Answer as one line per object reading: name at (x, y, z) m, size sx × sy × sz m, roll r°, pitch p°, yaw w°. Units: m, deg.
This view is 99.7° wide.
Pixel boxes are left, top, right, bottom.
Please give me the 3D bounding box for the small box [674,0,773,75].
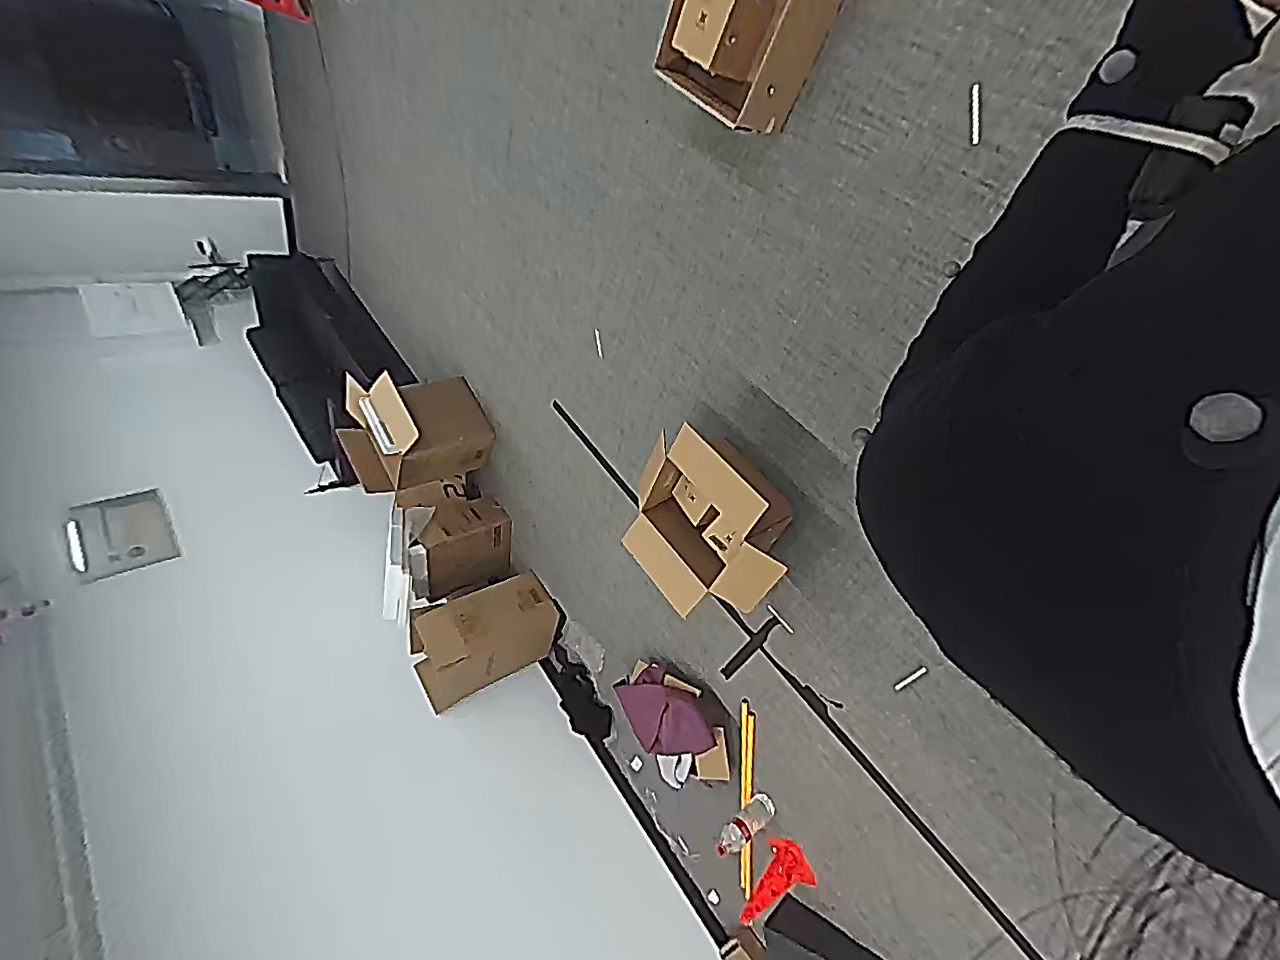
small box at (0.228, -1.244, 1.470) m, size 0.168 × 0.176 × 0.179 m, roll 50°, pitch 137°, yaw 21°
